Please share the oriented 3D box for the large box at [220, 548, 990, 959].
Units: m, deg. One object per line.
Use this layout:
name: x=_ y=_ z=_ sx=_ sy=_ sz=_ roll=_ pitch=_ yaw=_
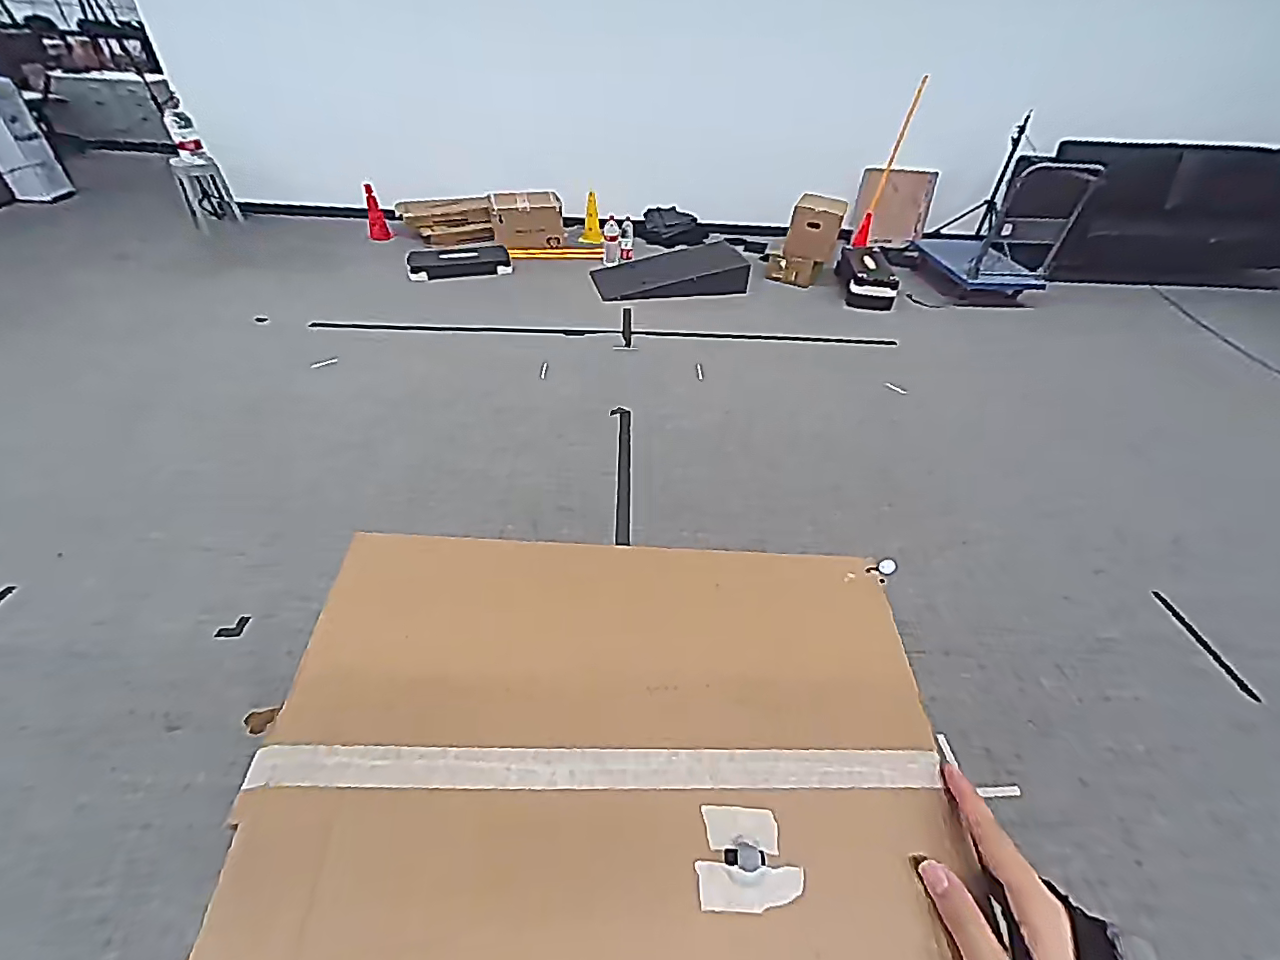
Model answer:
large box: x=-0.027 y=0.274 z=0.445 sx=0.408 sy=0.320 sz=0.320 roll=4 pitch=51 yaw=-6
